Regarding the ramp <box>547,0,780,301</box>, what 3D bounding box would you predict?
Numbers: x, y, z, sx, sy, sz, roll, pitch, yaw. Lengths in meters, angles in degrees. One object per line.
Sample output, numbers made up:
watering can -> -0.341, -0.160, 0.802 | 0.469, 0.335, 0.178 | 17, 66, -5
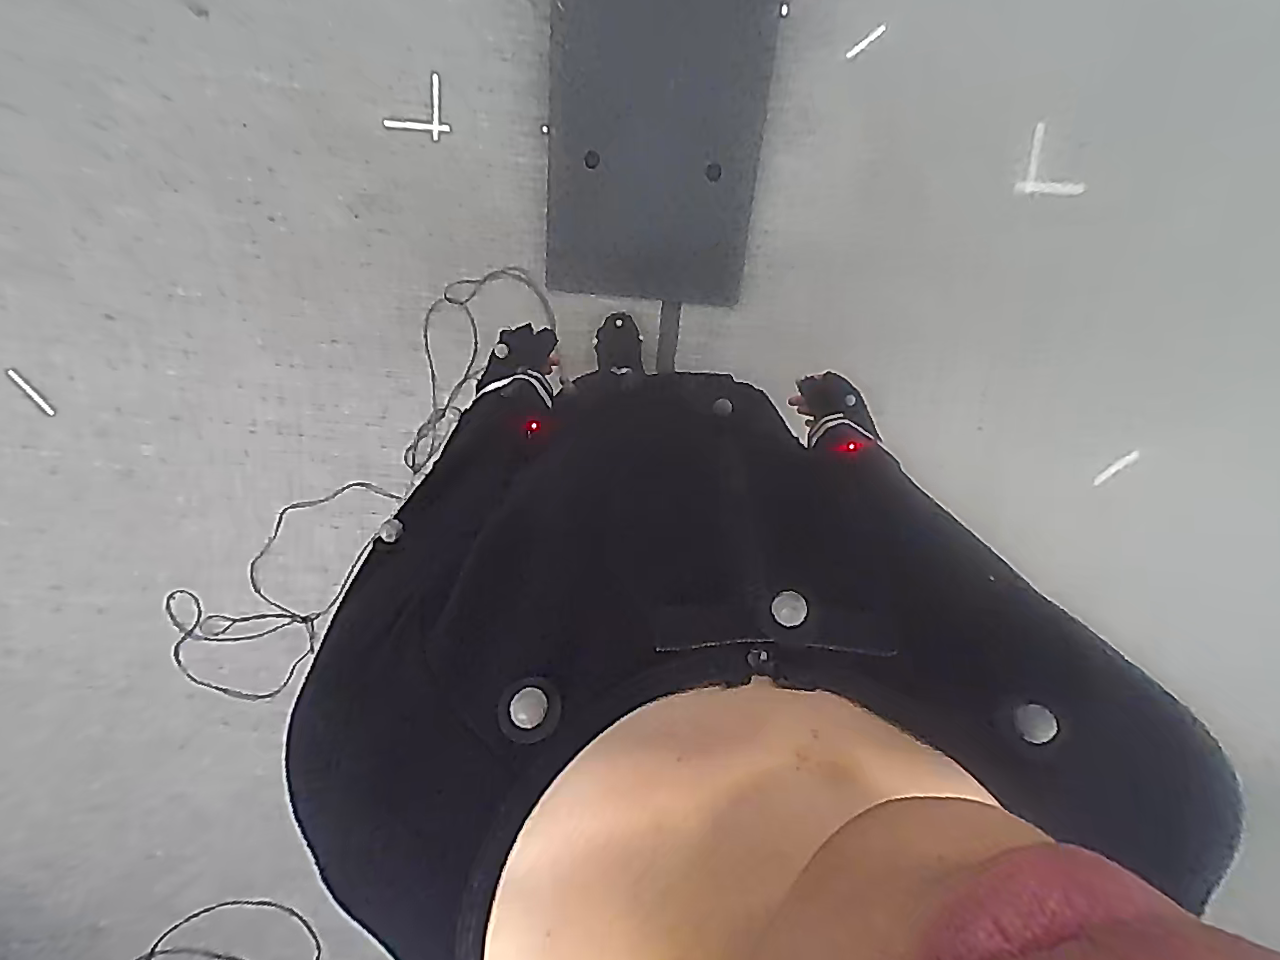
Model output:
ramp -> 0.048, -0.929, 1.181 | 0.509, 0.206, 0.991 | 2, 103, -4
